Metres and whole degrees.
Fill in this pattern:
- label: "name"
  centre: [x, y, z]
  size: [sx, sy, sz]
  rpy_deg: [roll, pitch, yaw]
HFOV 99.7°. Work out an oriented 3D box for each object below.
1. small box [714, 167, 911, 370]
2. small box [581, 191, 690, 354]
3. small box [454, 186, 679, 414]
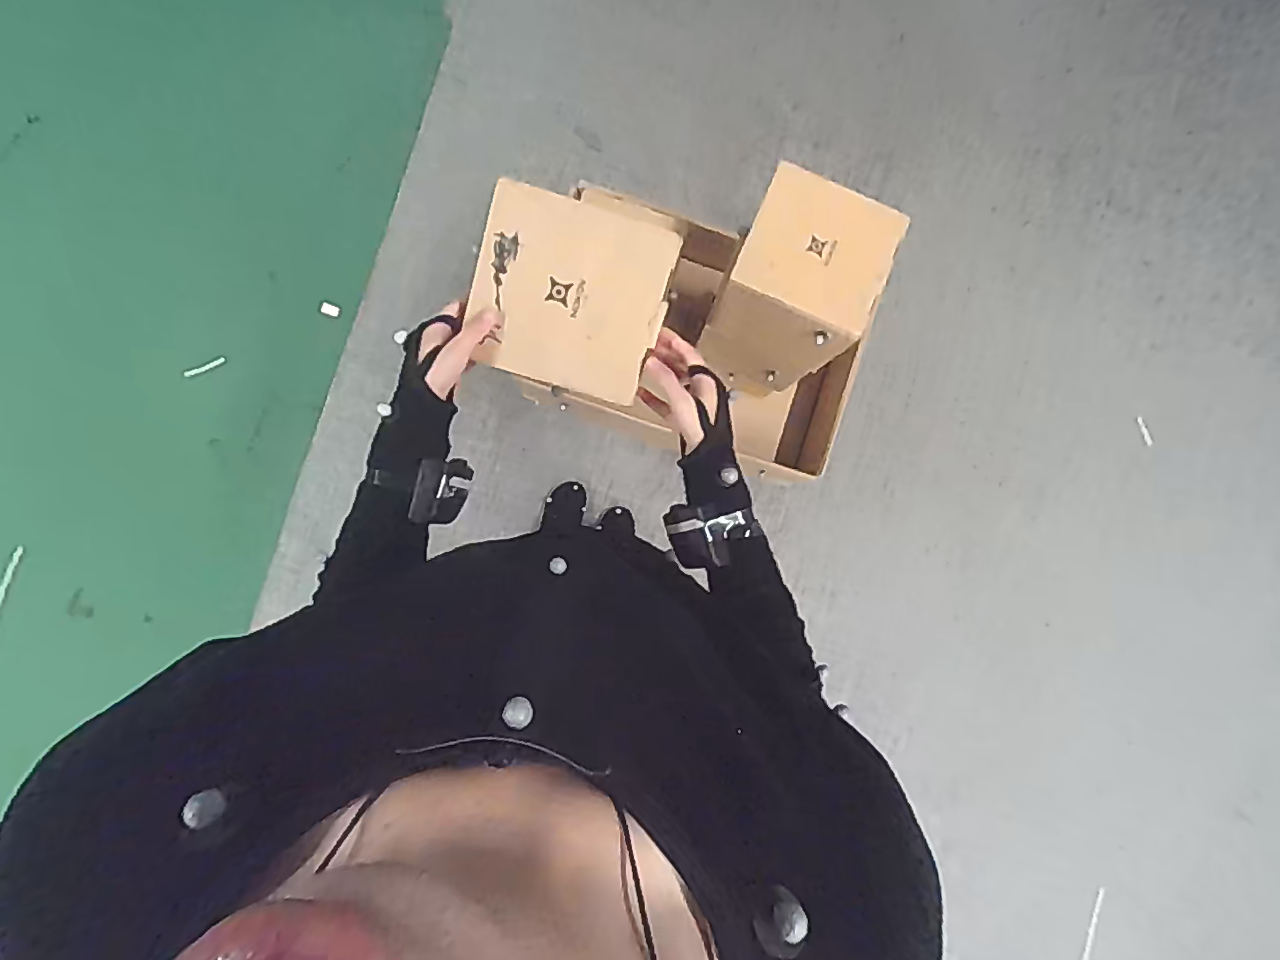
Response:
- label: "small box"
  centre: [0.215, -0.267, 0.727]
  size: [0.179, 0.176, 0.168]
  rpy_deg: [24, 87, -1]
- label: "small box"
  centre: [-0.031, -0.320, 0.880]
  size: [0.168, 0.176, 0.179]
  rpy_deg: [18, 88, -2]
- label: "small box"
  centre: [-0.073, -0.177, 0.580]
  size: [0.179, 0.176, 0.168]
  rpy_deg: [16, 98, -5]
